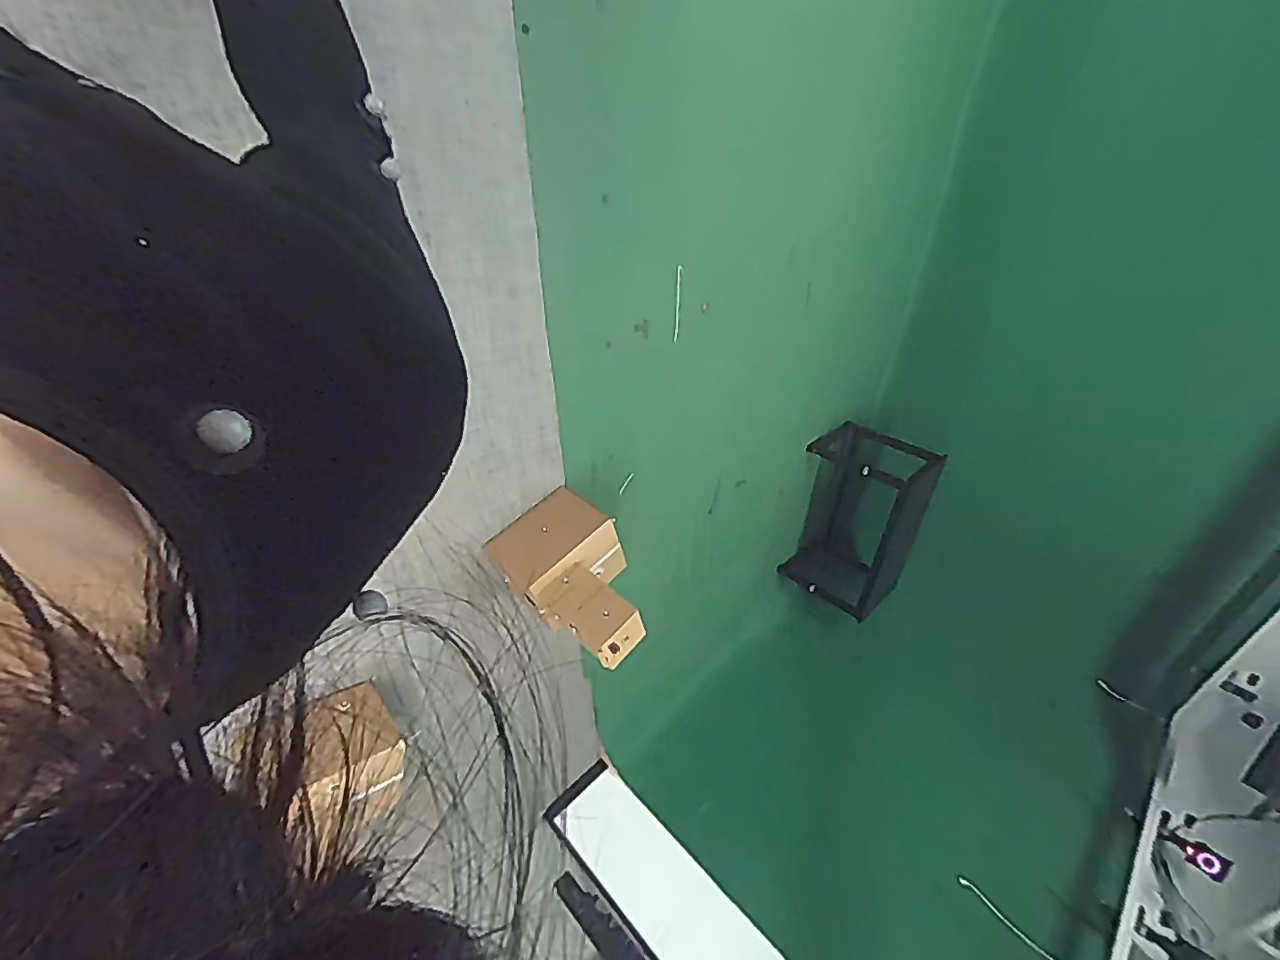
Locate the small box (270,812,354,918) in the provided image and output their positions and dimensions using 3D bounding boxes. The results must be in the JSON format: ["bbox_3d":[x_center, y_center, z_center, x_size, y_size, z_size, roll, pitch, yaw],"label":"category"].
[{"bbox_3d":[-0.949,1.115,1.560,0.168,0.176,0.179,-10,123,-46],"label":"small box"}]

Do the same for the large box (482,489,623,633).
[{"bbox_3d":[-0.337,0.311,2.146,0.408,0.320,0.320,-42,141,-25],"label":"large box"}]

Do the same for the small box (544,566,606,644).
[{"bbox_3d":[-0.227,0.447,1.953,0.179,0.176,0.168,-37,138,-28],"label":"small box"}]

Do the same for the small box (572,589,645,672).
[{"bbox_3d":[-0.112,0.512,1.855,0.179,0.176,0.168,-41,140,-25],"label":"small box"}]

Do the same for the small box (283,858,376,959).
[{"bbox_3d":[-0.843,1.185,1.459,0.179,0.176,0.168,-8,122,-47],"label":"small box"}]
